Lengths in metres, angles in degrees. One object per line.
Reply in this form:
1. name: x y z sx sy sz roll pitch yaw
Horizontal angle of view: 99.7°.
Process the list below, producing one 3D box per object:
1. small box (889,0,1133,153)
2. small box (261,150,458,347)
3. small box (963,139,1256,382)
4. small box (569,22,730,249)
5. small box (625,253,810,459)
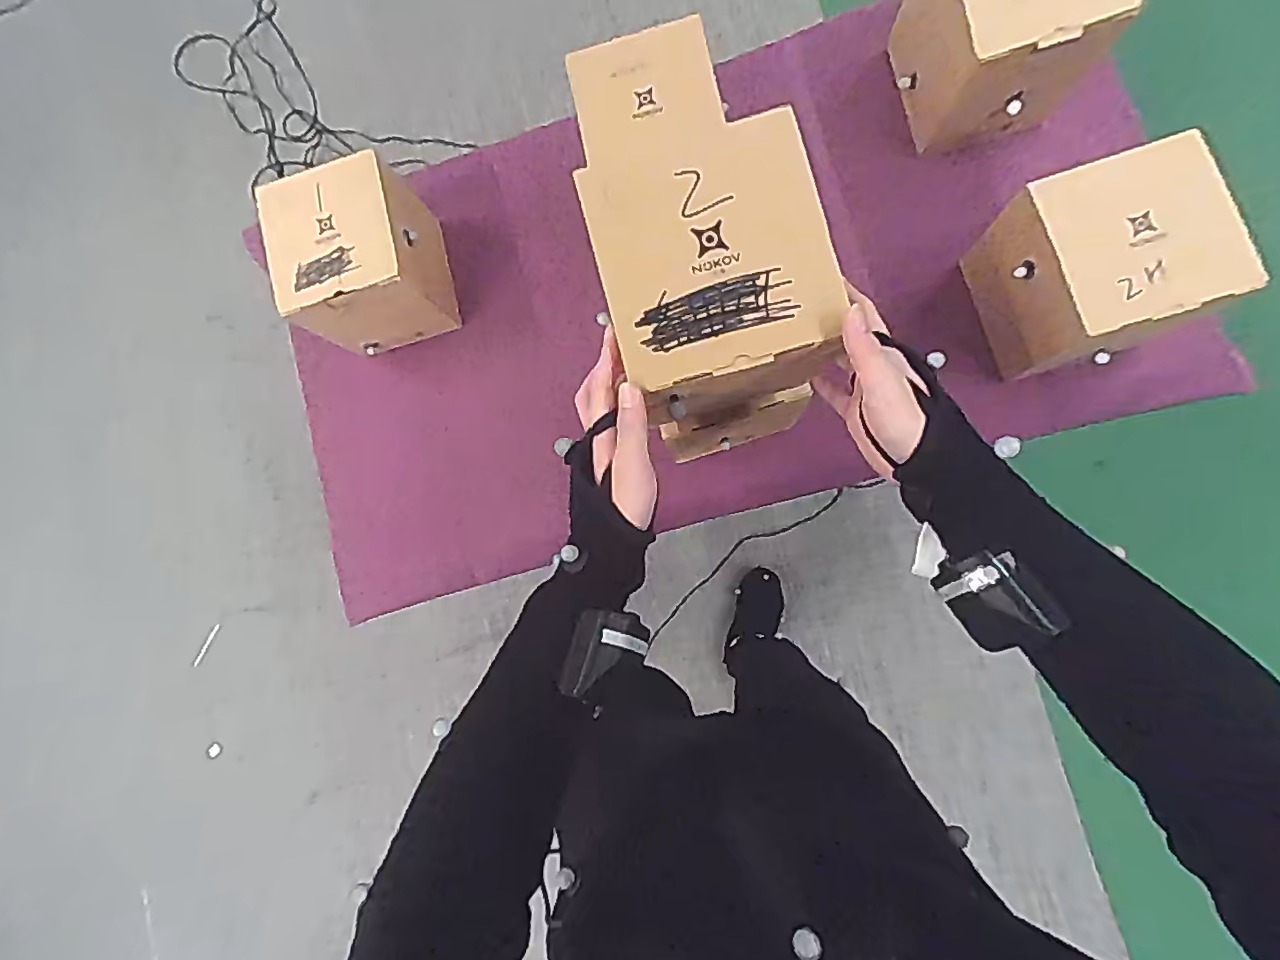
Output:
1. small box: 0.430 -0.537 0.659 0.168 0.176 0.179 -14 86 6
2. small box: -0.371 -0.299 0.743 0.168 0.176 0.179 -14 83 5
3. small box: 0.507 -0.234 0.620 0.168 0.176 0.179 -15 83 7
4. small box: 0.020 -0.427 0.706 0.168 0.176 0.179 -12 84 6
5. small box: 0.090 -0.139 0.671 0.168 0.176 0.179 -17 82 5
